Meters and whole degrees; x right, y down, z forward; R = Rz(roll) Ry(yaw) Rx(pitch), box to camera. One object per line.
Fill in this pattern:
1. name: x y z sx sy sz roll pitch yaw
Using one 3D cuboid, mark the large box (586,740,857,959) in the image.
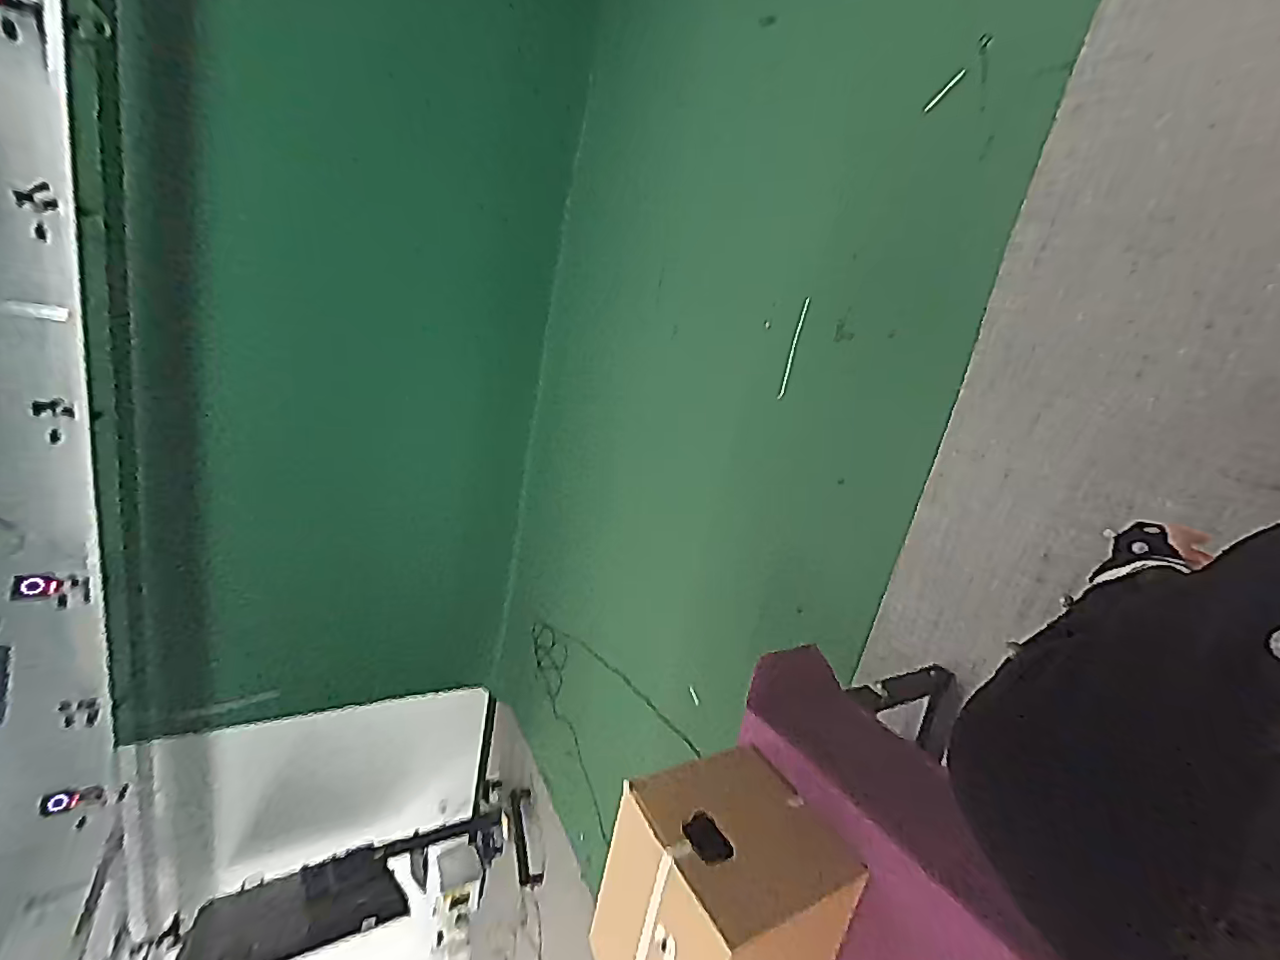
1. large box: 0.132 0.776 0.999 0.320 0.320 0.408 32 114 53
